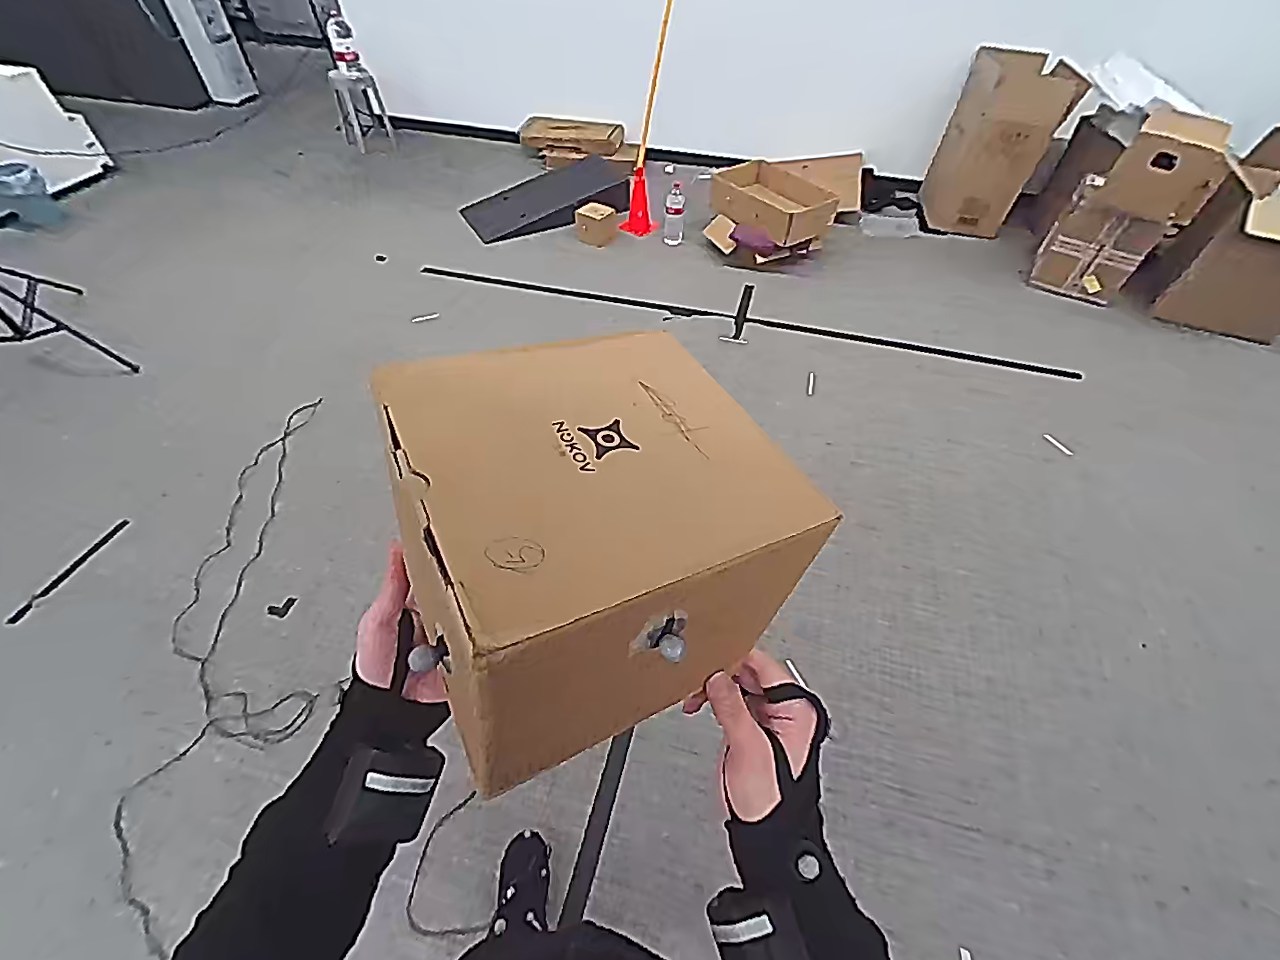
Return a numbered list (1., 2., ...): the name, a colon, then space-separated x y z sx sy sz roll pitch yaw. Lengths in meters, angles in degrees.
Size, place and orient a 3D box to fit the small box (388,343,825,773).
1. small box: -0.033 0.041 0.327 0.179 0.176 0.168 -15 52 -28
